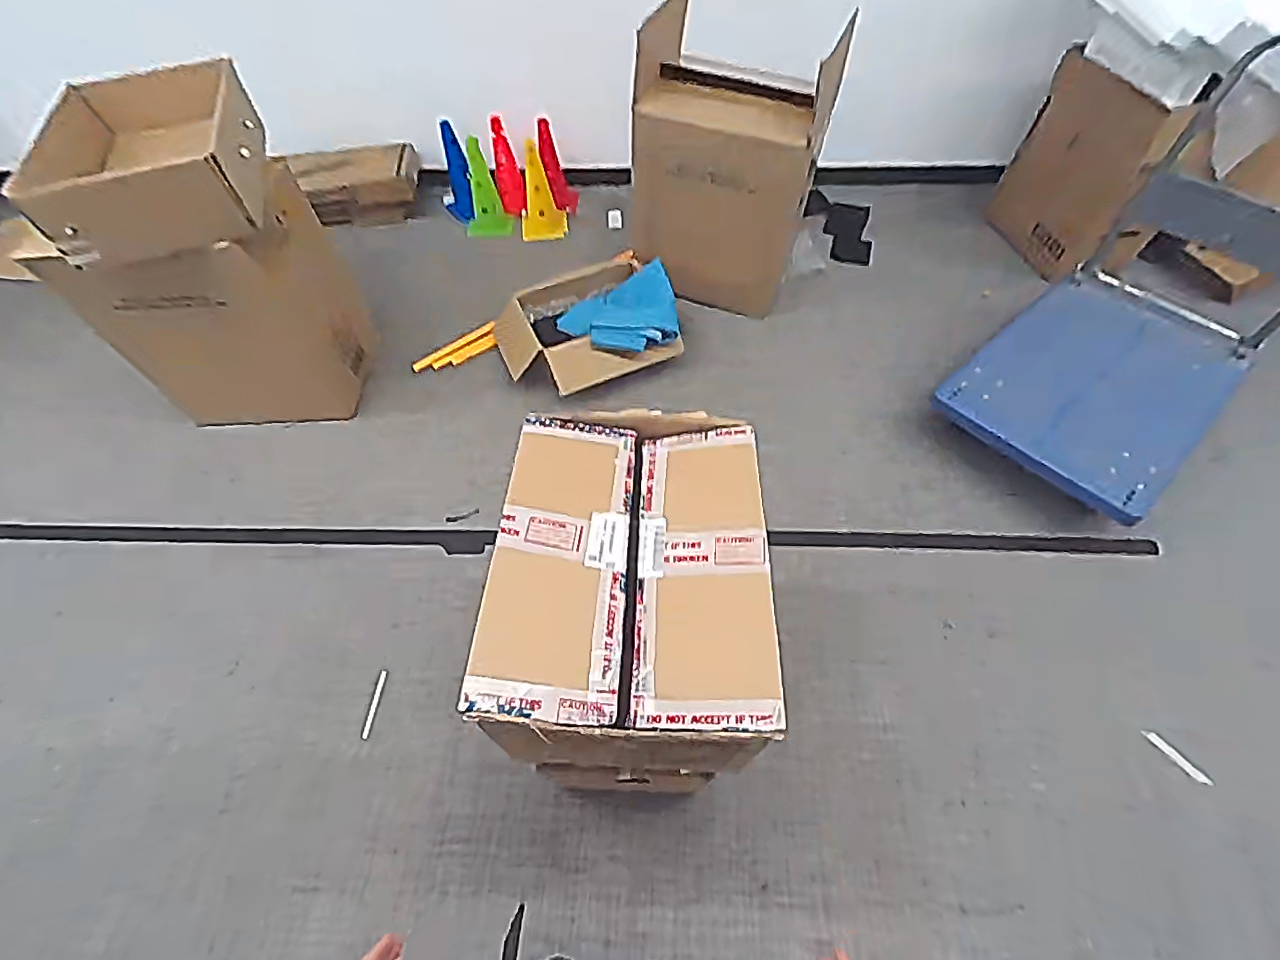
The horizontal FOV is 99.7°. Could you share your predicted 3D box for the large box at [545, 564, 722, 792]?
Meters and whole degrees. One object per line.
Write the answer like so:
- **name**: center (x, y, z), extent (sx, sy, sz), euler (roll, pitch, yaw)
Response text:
- **large box**: center (-0.011, 0.425, 1.159), extent (0.320, 0.320, 0.408), euler (0, 56, 2)
